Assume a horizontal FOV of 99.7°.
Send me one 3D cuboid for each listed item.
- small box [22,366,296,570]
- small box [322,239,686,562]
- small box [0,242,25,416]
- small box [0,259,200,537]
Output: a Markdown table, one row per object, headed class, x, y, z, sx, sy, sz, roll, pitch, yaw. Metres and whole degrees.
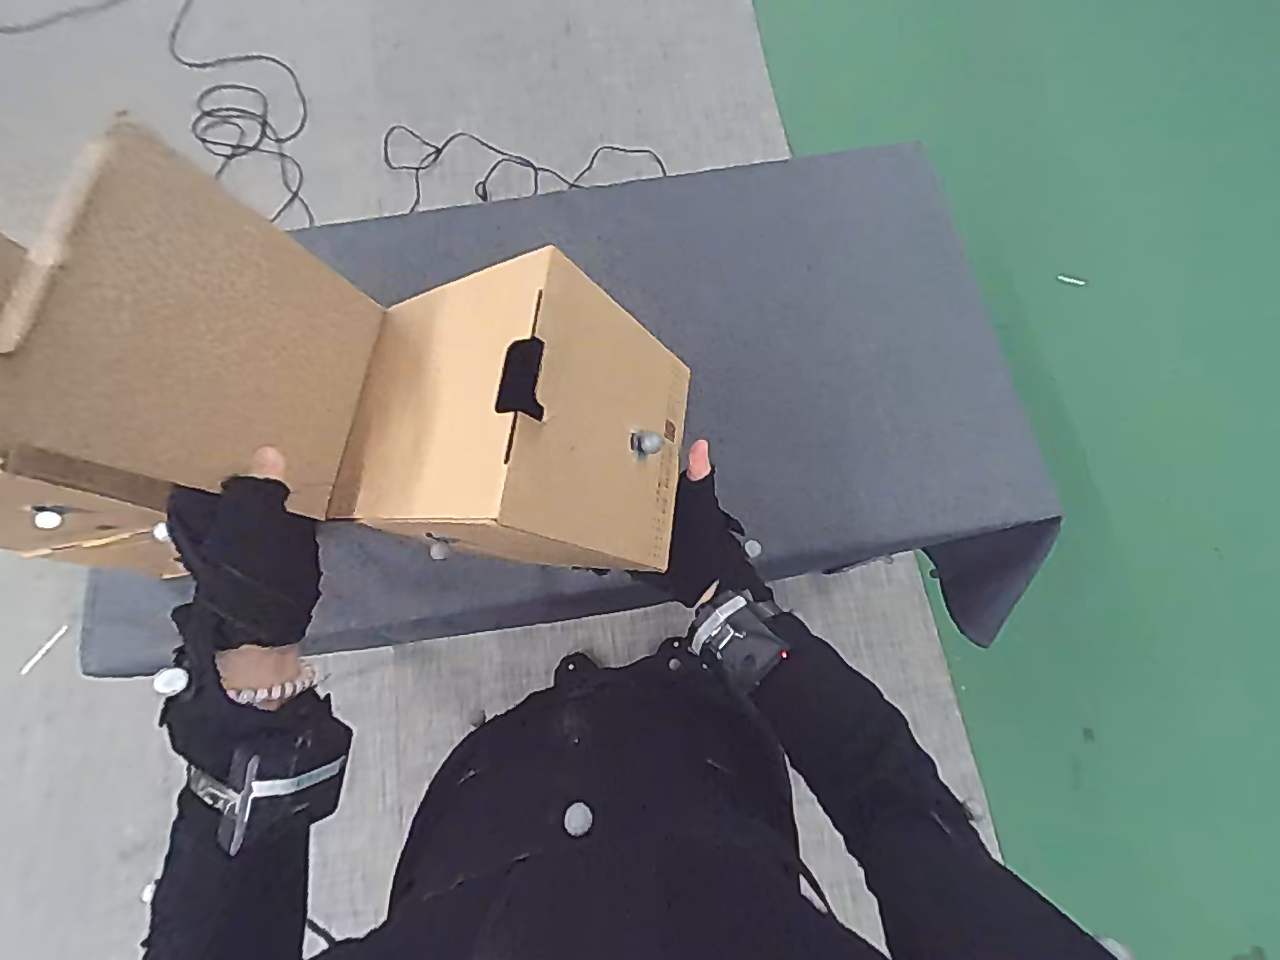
| class | x | y | z | sx | sy | sz | roll | pitch | yaw |
| --- | --- | --- | --- | --- | --- | --- | --- | --- | --- |
| small box | -0.526 | -0.004 | 0.622 | 0.168 | 0.176 | 0.179 | -11 | 74 | -2 |
| small box | -0.088 | -0.035 | 0.399 | 0.179 | 0.176 | 0.168 | -2 | 73 | 34 |
| small box | -0.529 | -0.106 | 0.311 | 0.168 | 0.176 | 0.179 | -11 | 74 | -4 |
| small box | -0.526 | -0.053 | 0.466 | 0.168 | 0.176 | 0.179 | -10 | 74 | -3 |
